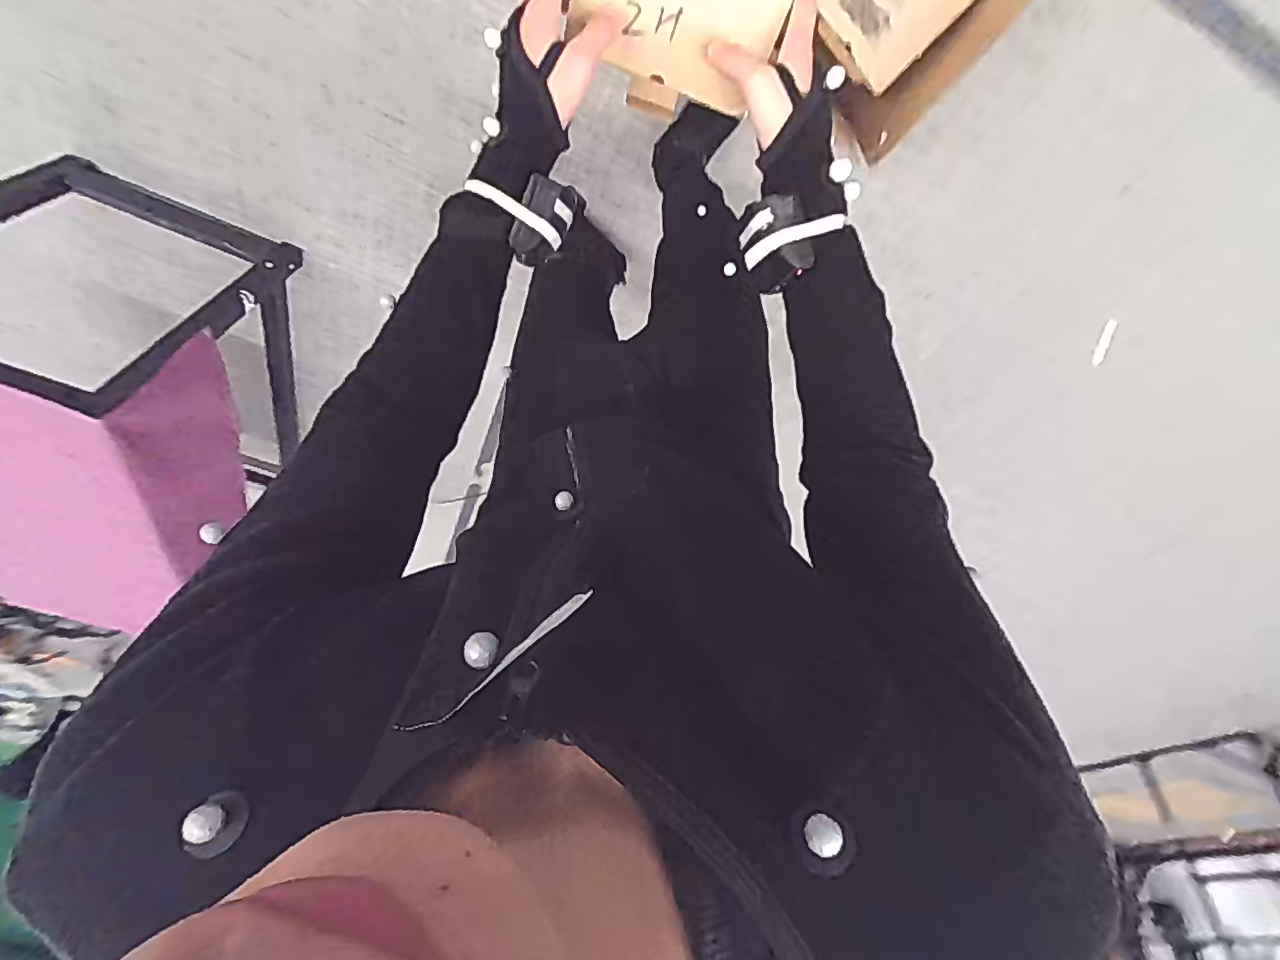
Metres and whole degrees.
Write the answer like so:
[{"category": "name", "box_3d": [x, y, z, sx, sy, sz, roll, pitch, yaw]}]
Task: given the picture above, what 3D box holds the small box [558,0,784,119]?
[{"category": "small box", "box_3d": [0.037, -0.451, 0.448, 0.168, 0.176, 0.179, 13, 141, -12]}]
